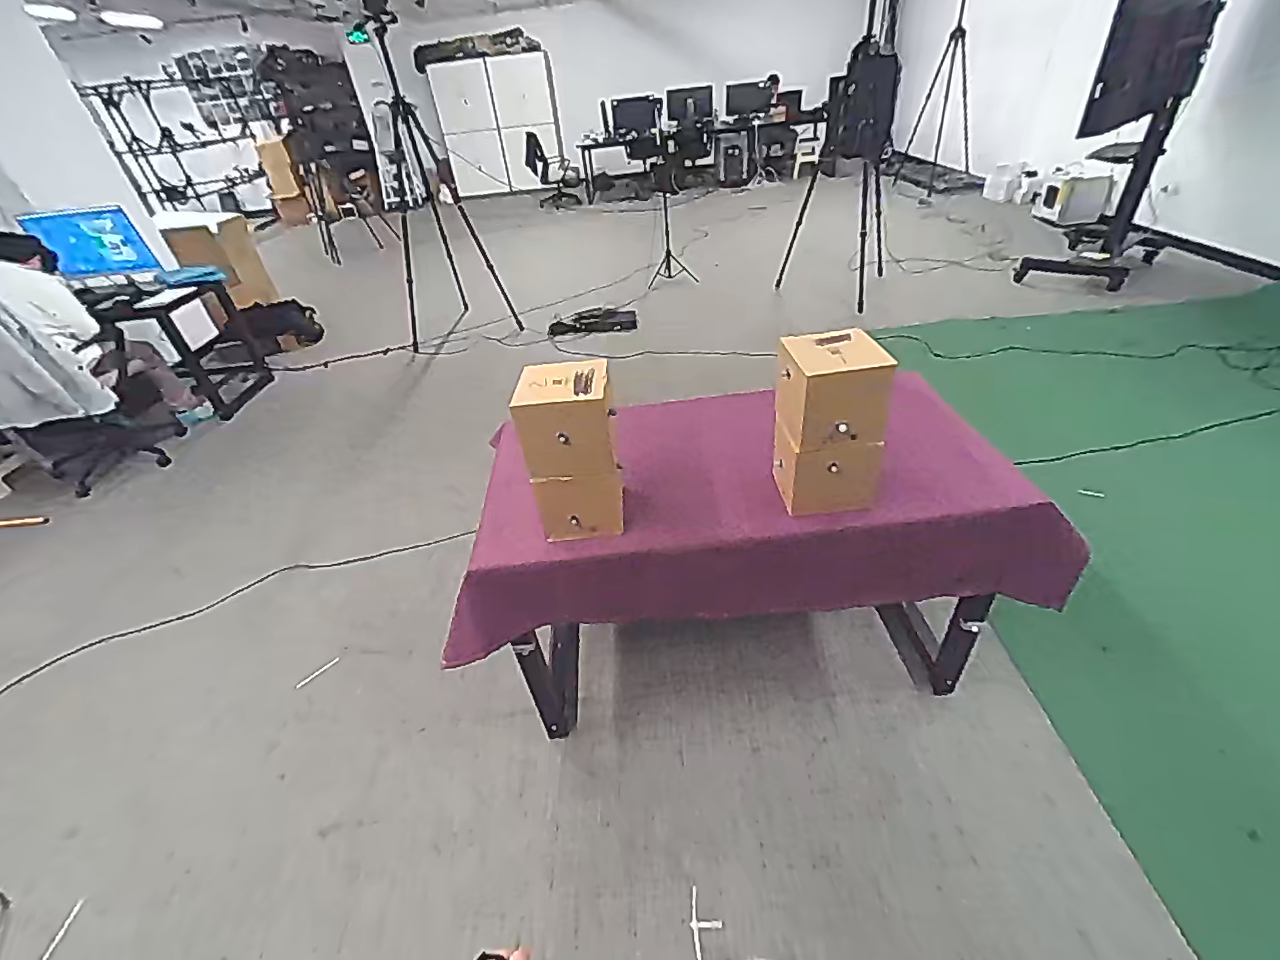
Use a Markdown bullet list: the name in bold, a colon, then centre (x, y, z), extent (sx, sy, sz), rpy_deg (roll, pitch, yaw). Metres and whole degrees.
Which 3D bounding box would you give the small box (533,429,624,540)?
- **small box**: centre (-0.126, 0.010, 1.183), extent (0.168, 0.176, 0.179), rpy_deg (-6, 37, 2)

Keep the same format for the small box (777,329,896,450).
- **small box**: centre (0.374, -0.180, 1.067), extent (0.168, 0.176, 0.179), rpy_deg (-8, 37, 1)

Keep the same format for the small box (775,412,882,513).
- **small box**: centre (0.392, -0.044, 1.159), extent (0.179, 0.176, 0.168), rpy_deg (-6, 37, 3)
